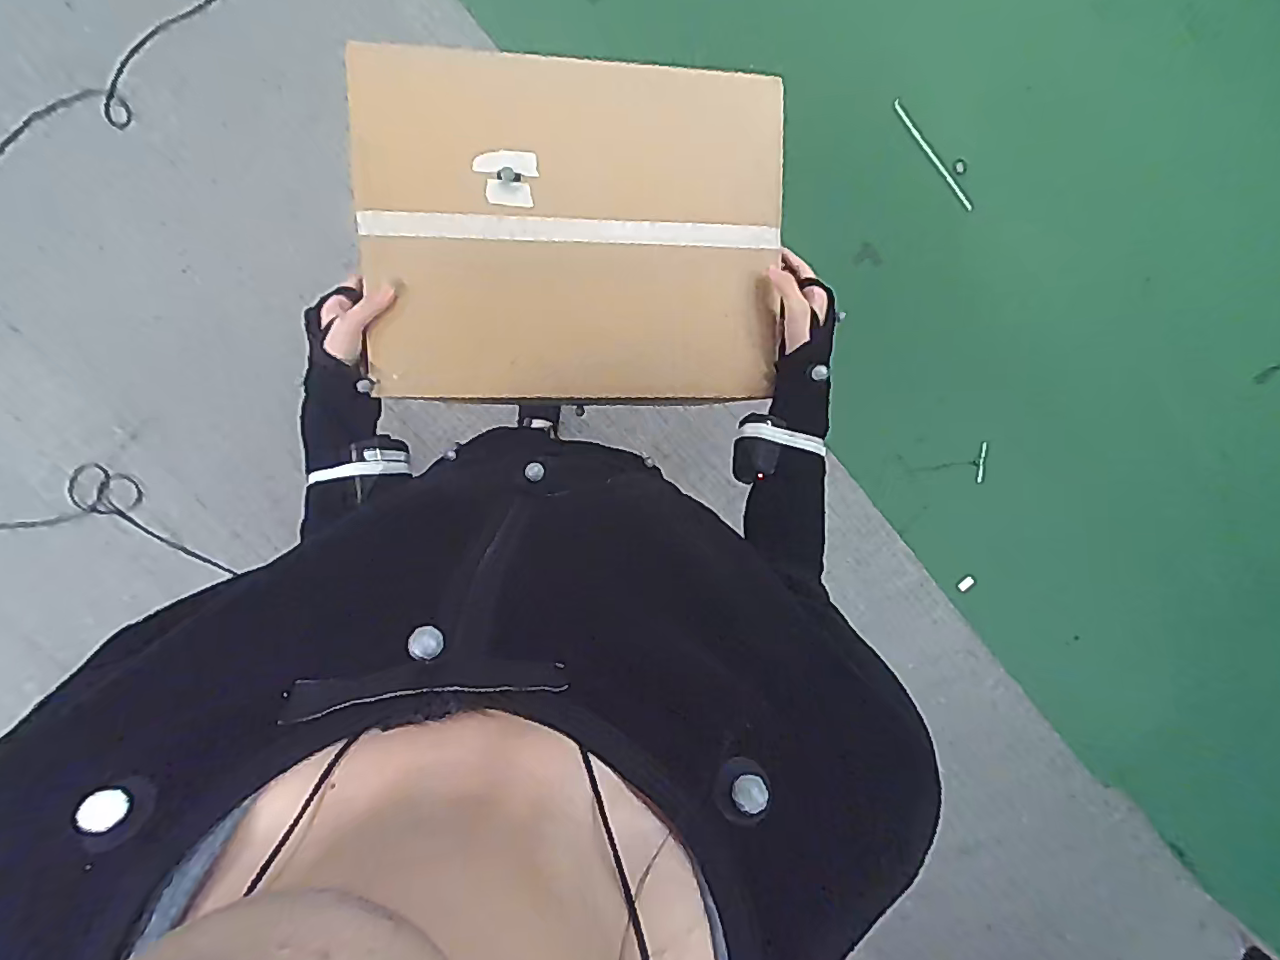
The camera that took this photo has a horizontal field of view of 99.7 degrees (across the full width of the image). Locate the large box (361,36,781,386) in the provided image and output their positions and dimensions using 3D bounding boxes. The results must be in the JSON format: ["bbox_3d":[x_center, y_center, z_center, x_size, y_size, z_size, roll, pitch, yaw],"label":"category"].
[{"bbox_3d":[-0.073,-0.276,0.678,0.408,0.320,0.320,0,98,-7],"label":"large box"}]
